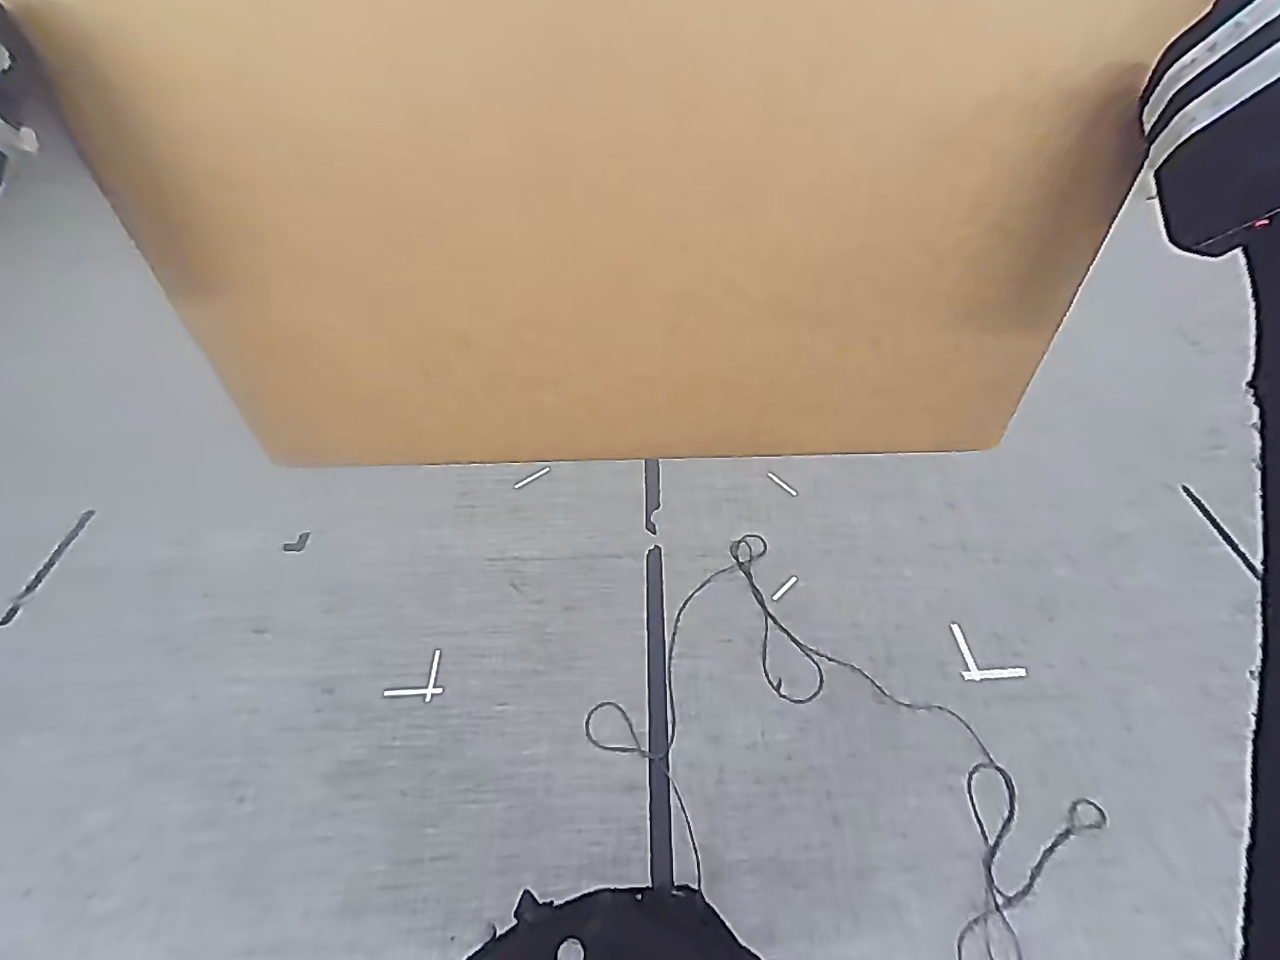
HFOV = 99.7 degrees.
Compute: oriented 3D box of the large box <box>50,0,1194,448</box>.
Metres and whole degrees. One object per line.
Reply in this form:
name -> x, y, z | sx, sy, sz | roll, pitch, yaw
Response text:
large box -> -0.006, -0.231, 0.321 | 0.408, 0.320, 0.320 | -1, 42, 0
